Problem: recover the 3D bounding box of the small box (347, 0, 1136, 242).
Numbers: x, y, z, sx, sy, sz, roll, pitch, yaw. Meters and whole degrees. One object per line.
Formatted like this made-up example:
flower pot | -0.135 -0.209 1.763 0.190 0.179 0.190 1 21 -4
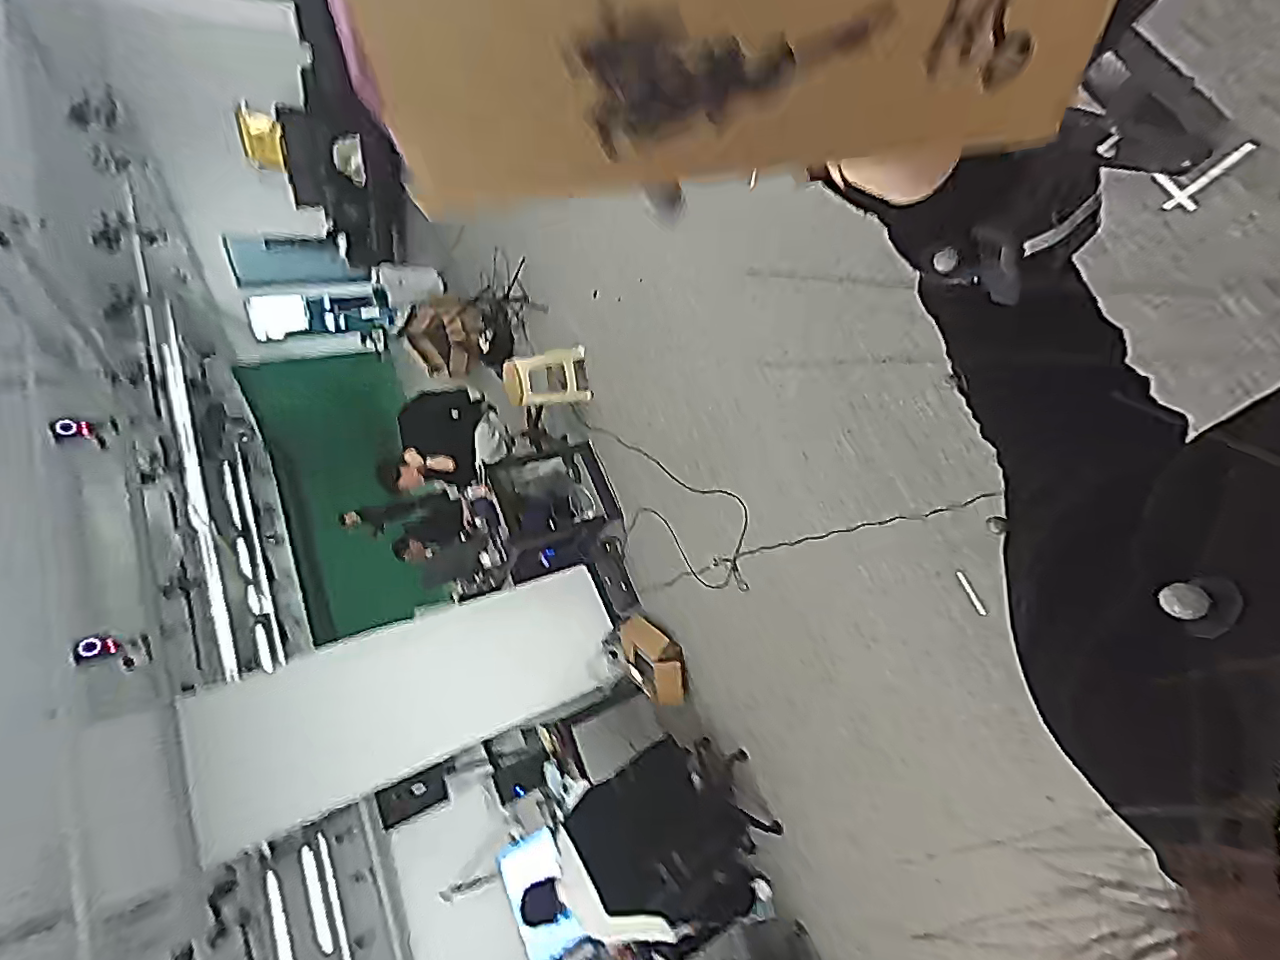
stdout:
small box | 0.013 -0.185 0.139 0.176 0.168 0.179 -99 2 -47
